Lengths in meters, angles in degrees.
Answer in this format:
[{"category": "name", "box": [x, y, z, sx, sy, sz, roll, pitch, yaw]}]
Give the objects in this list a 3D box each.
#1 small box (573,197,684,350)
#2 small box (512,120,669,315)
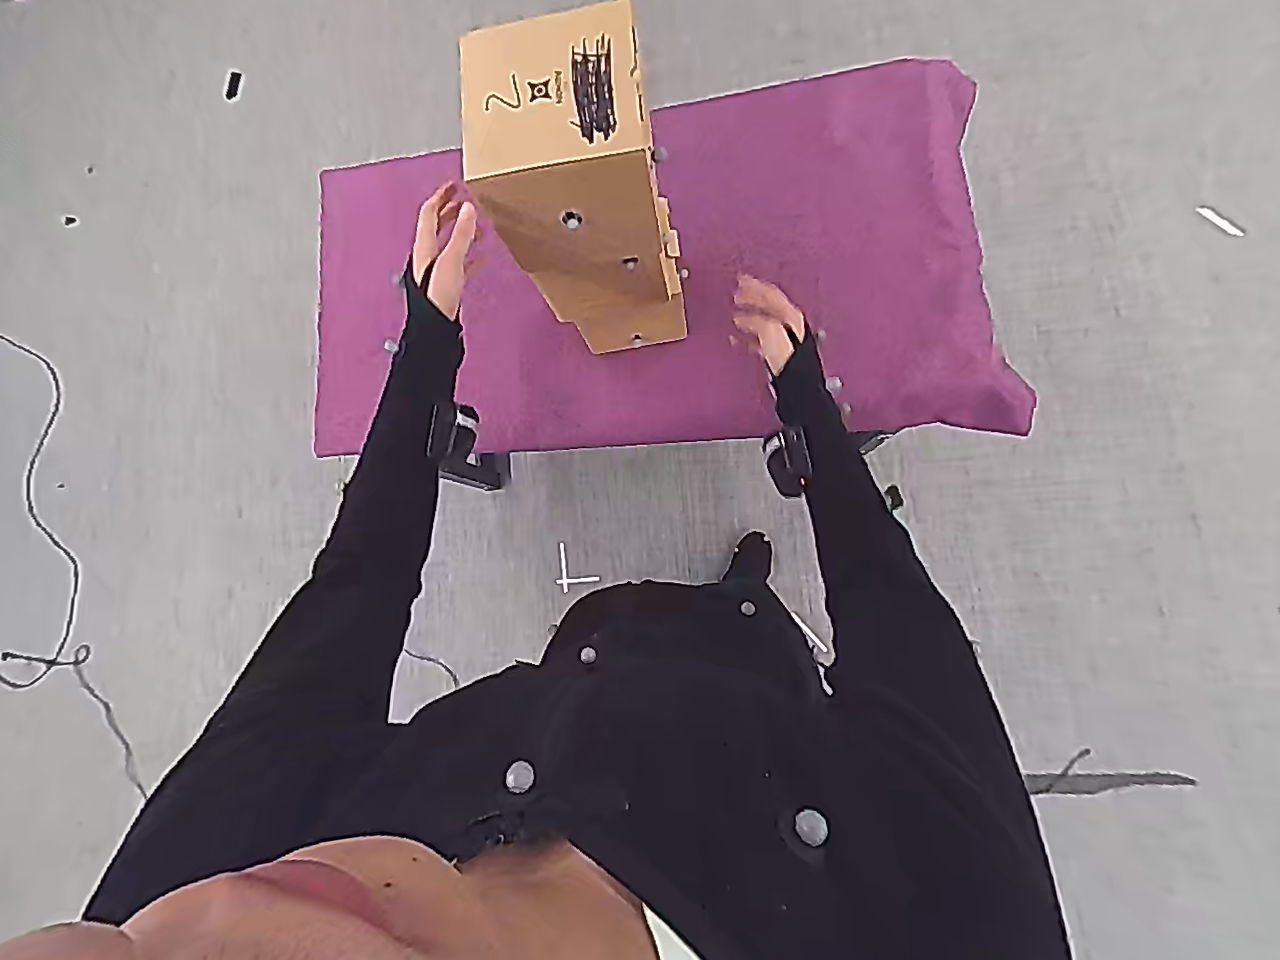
[{"category": "small box", "box": [-0.021, -0.336, 0.908, 0.179, 0.176, 0.168, -8, 80, 6]}, {"category": "small box", "box": [-0.061, -0.347, 0.749, 0.179, 0.176, 0.168, -8, 81, 6]}]
